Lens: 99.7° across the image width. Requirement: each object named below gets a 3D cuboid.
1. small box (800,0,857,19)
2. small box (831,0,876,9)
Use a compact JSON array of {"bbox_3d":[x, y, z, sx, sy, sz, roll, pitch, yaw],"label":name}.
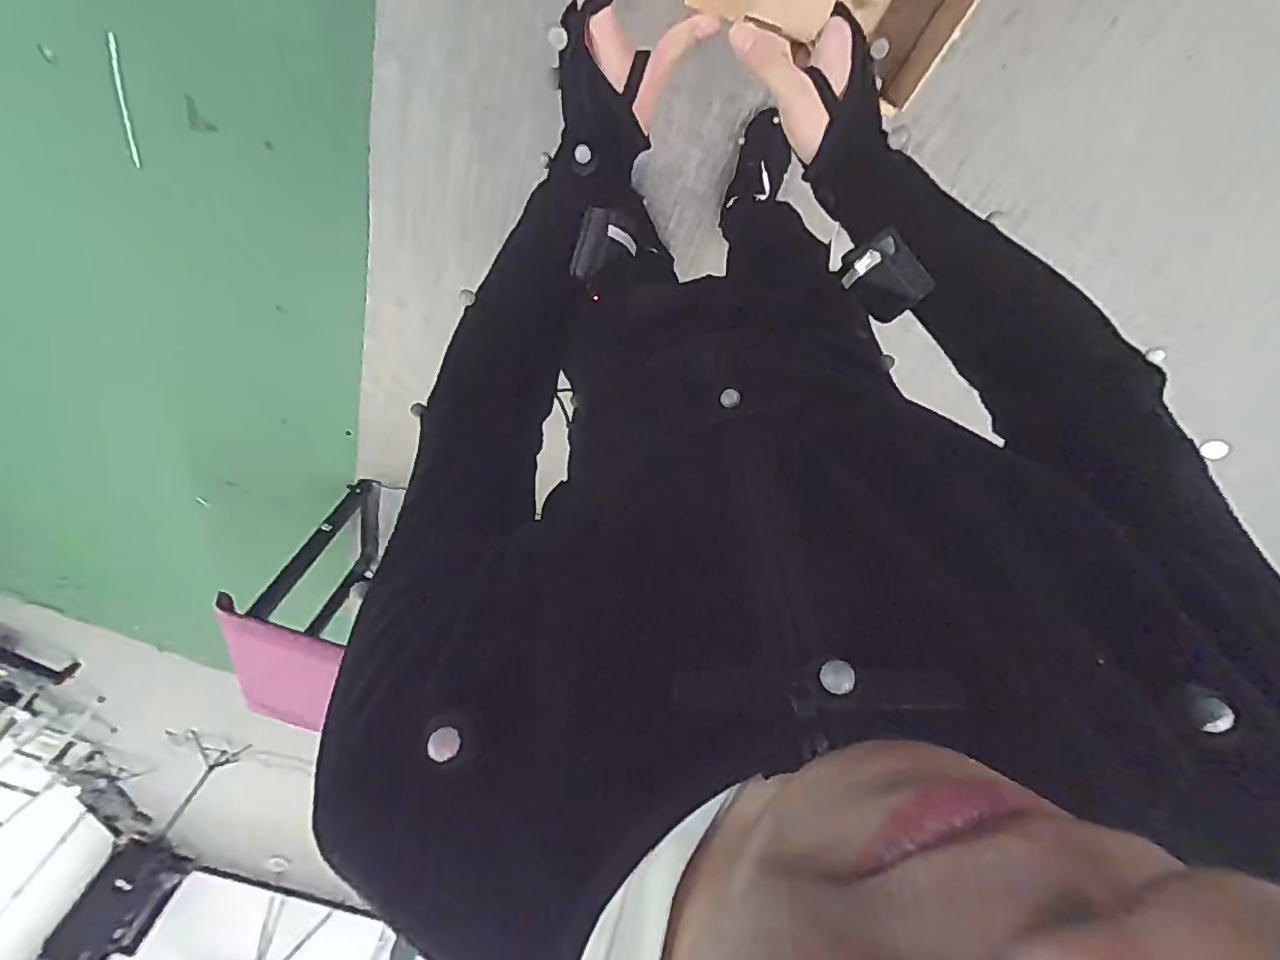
[{"bbox_3d":[0.237,-0.712,0.661,0.168,0.176,0.179,26,128,-9],"label":"small box"},{"bbox_3d":[0.211,-0.611,0.536,0.168,0.176,0.179,25,129,-9],"label":"small box"}]
